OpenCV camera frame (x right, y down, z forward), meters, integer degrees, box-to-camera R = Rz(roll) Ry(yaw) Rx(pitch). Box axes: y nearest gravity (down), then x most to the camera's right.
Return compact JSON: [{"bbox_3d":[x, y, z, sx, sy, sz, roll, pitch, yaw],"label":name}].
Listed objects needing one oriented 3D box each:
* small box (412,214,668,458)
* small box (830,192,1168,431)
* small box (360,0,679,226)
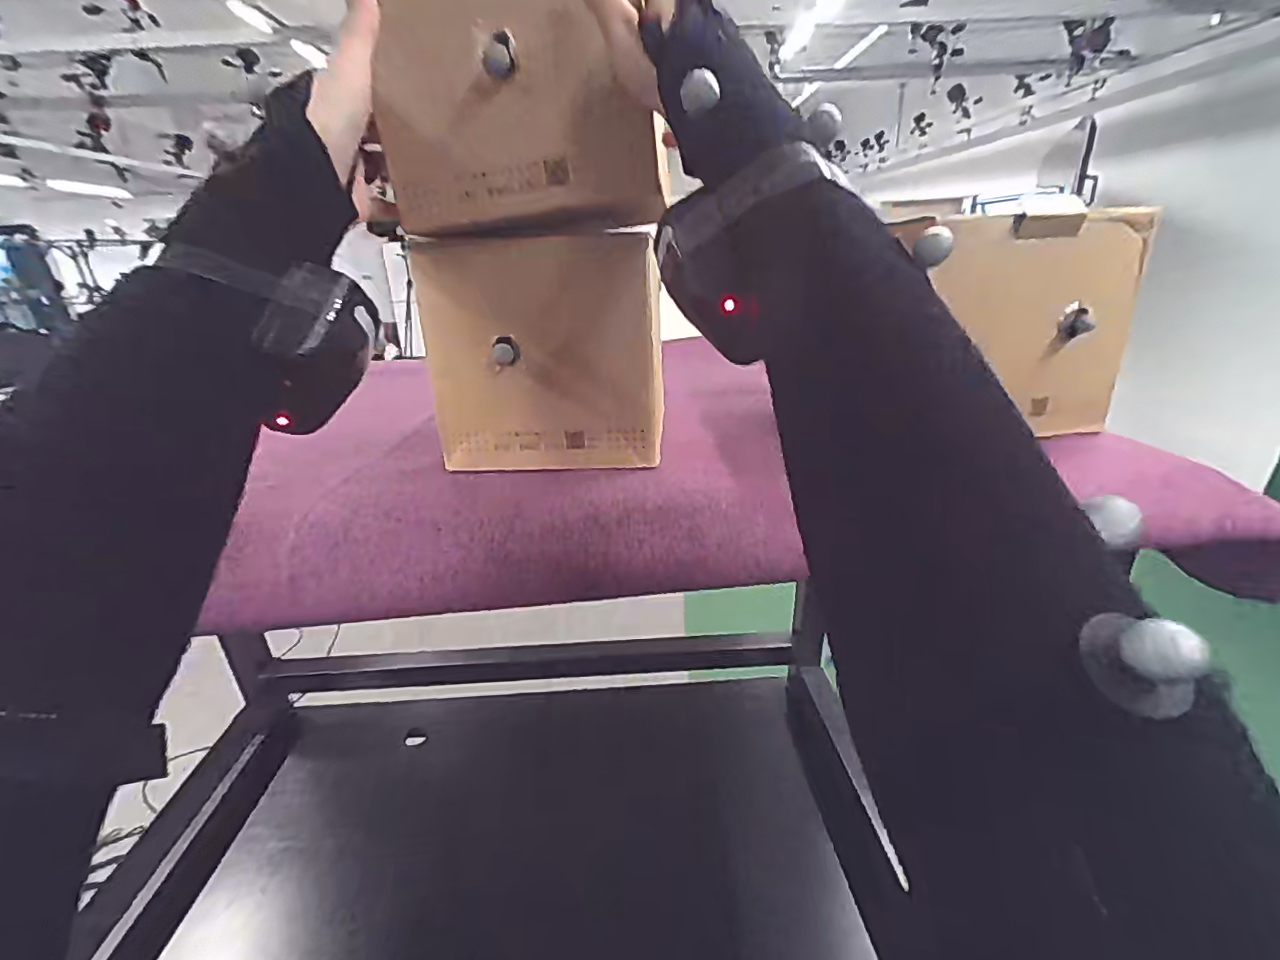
[{"bbox_3d":[-0.062,-0.120,0.457,0.168,0.176,0.179,-1,21,4],"label":"small box"},{"bbox_3d":[0.280,-0.141,0.471,0.168,0.176,0.179,-3,21,-3],"label":"small box"},{"bbox_3d":[-0.064,-0.274,0.371,0.168,0.176,0.179,-5,20,7],"label":"small box"}]
